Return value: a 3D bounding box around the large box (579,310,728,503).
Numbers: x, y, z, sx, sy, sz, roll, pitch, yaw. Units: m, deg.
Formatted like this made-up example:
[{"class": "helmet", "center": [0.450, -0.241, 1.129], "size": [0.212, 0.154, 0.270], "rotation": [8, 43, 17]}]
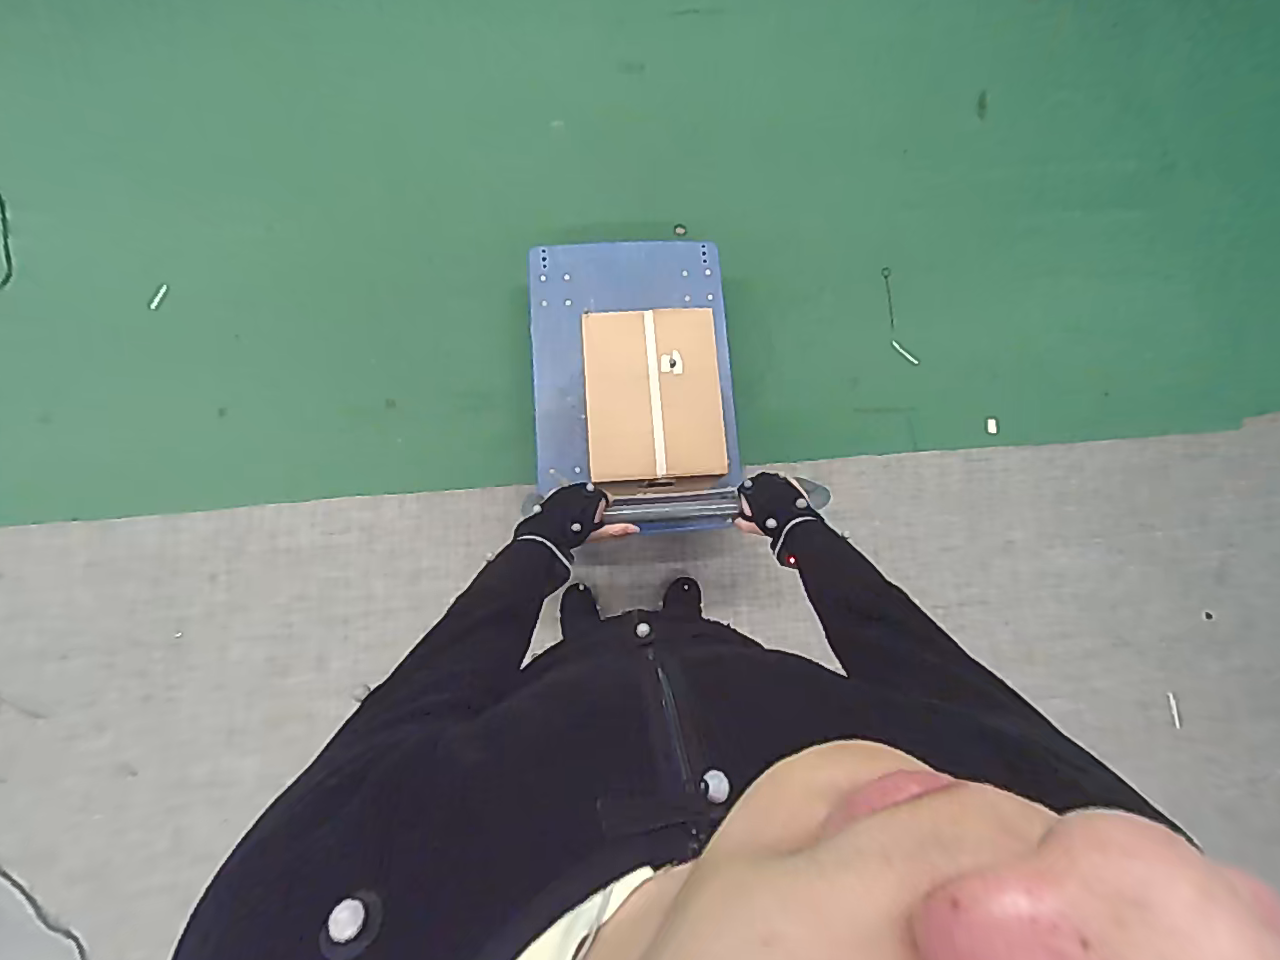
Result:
[{"class": "large box", "center": [0.021, -0.170, 1.384], "size": [0.320, 0.320, 0.408], "rotation": [-4, 79, -5]}]
